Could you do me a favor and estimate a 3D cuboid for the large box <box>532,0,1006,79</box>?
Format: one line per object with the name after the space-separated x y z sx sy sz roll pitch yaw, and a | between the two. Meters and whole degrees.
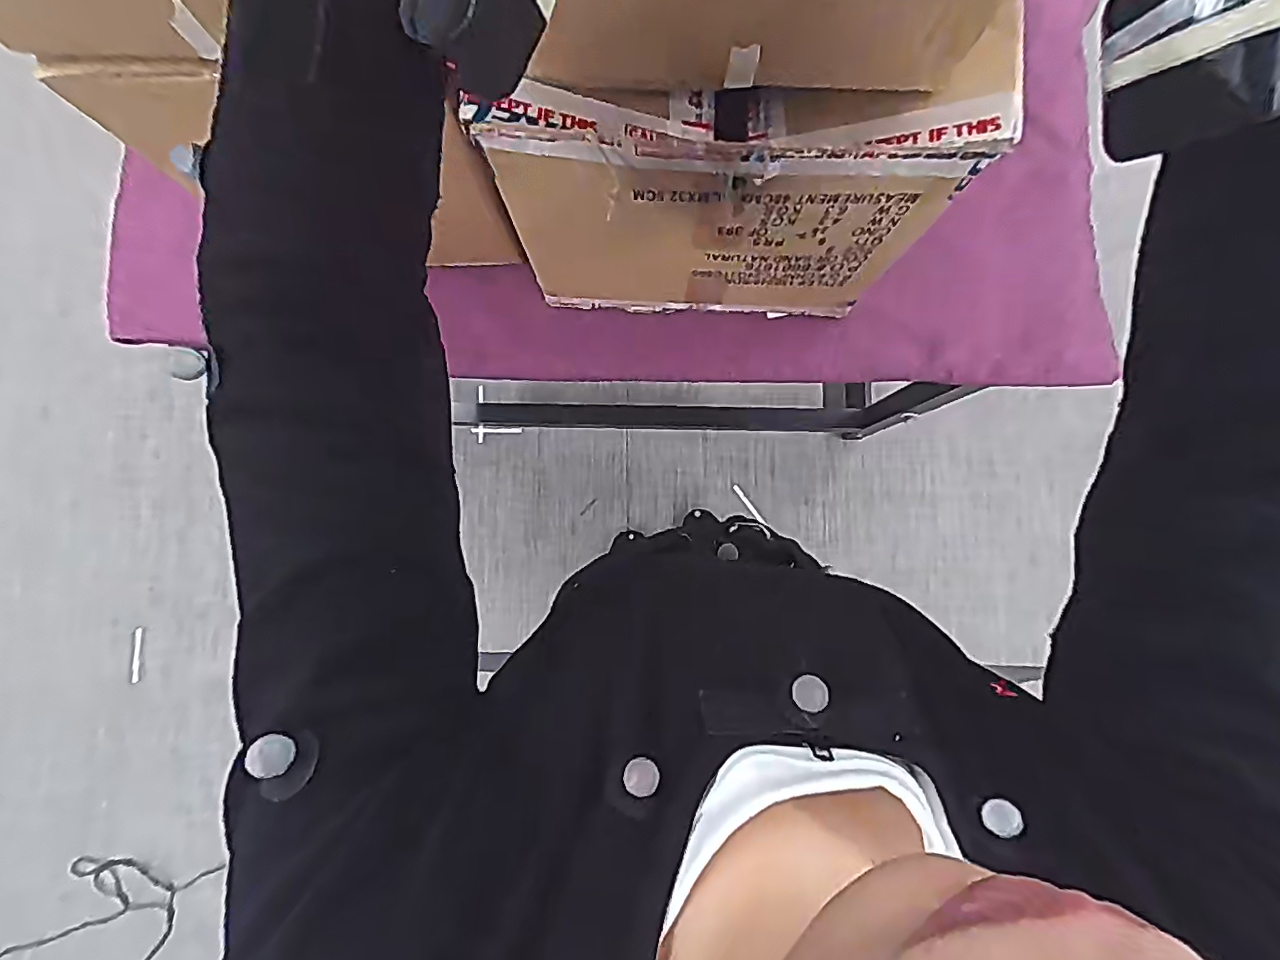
0.083 -0.504 0.262 0.320 0.320 0.408 1 86 1 | large box
